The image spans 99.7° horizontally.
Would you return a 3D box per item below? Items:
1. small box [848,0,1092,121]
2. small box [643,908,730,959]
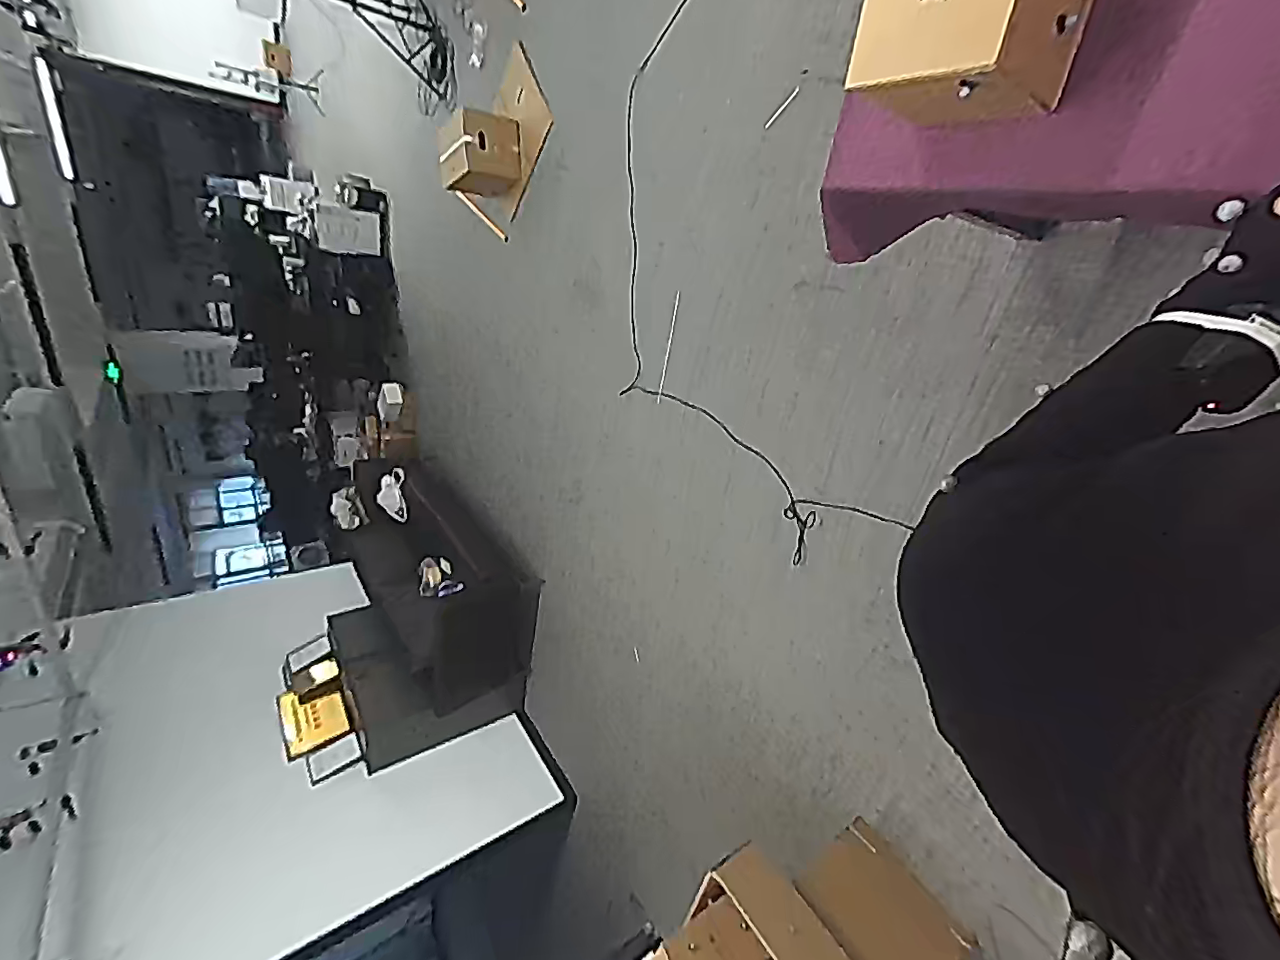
[{"bbox_3d":[0.378,-0.529,0.614,0.179,0.176,0.168,32,121,45],"label":"small box"},{"bbox_3d":[0.134,1.330,1.481,0.168,0.176,0.179,47,133,39],"label":"small box"}]
